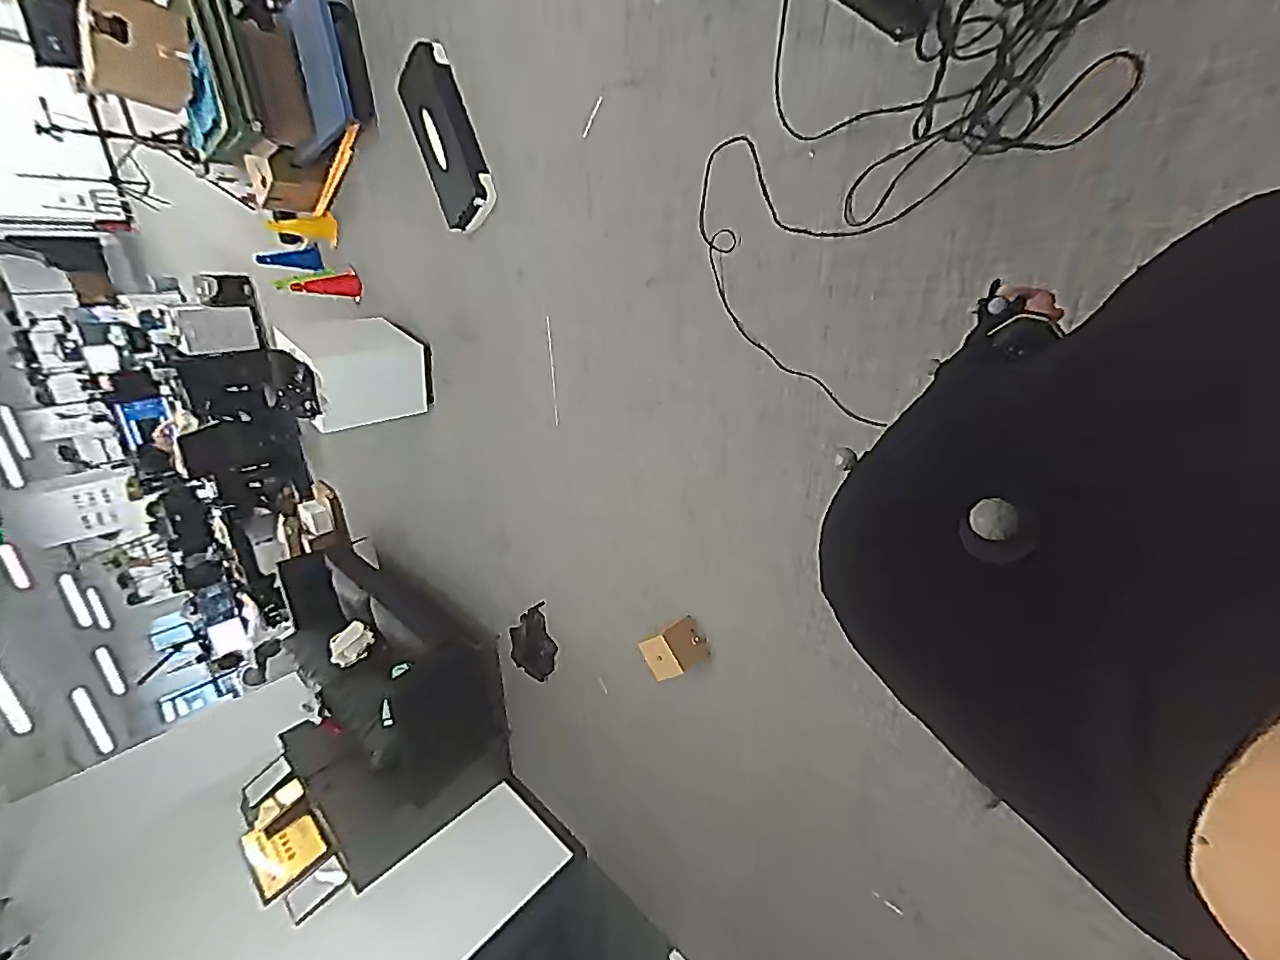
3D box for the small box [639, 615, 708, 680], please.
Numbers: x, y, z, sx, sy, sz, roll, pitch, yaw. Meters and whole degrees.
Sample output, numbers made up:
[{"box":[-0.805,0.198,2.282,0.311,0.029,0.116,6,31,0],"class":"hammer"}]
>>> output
[{"box":[0.133,0.651,2.109,0.179,0.176,0.168,-40,78,46],"class":"small box"}]
